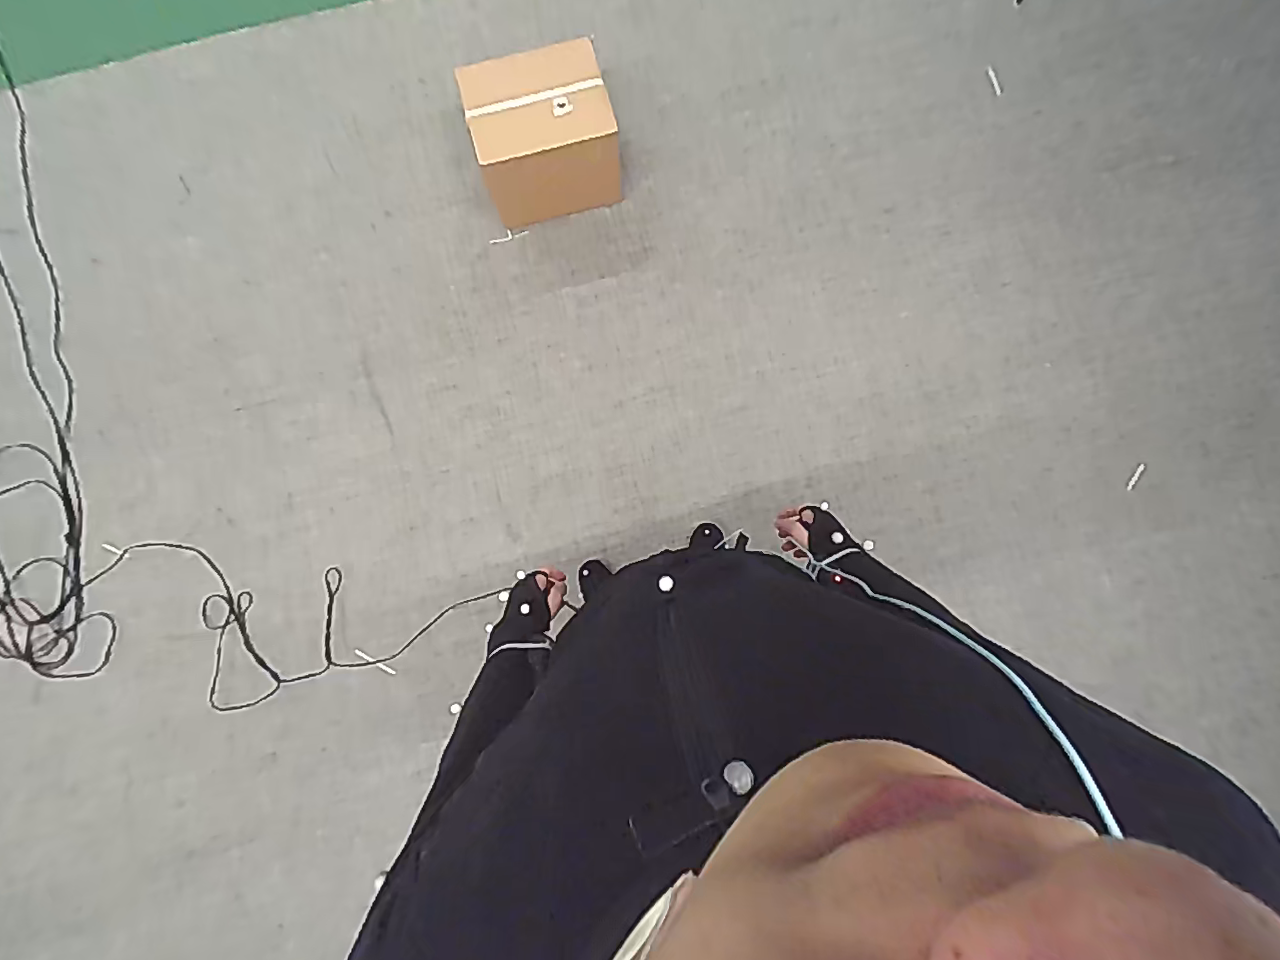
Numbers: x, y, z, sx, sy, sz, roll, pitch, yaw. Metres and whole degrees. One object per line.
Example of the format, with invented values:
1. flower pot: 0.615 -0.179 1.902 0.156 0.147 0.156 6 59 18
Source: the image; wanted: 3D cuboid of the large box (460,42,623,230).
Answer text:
1. large box: -0.285 -1.044 1.675 0.408 0.320 0.320 -15 83 -2
